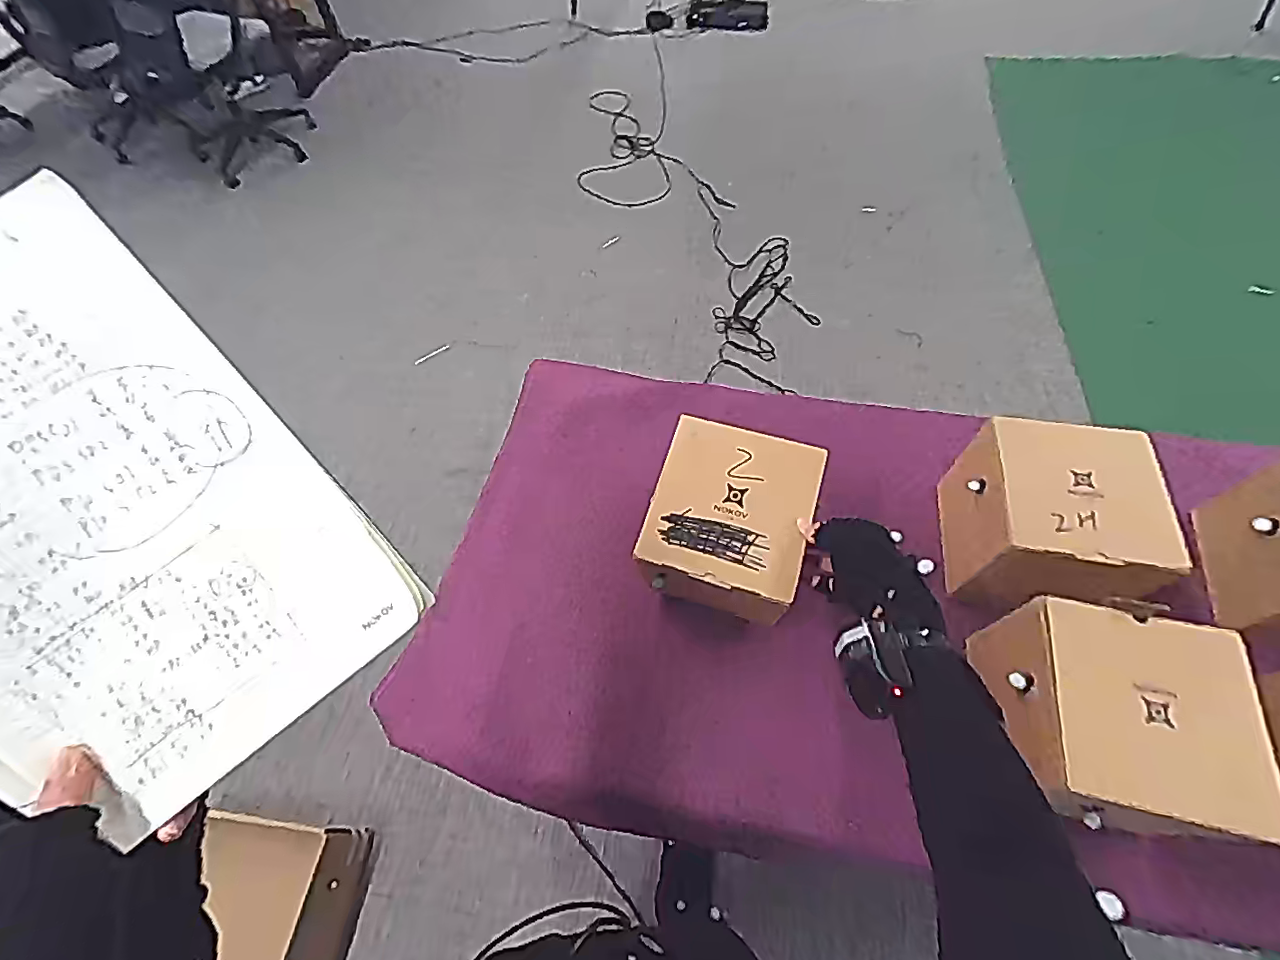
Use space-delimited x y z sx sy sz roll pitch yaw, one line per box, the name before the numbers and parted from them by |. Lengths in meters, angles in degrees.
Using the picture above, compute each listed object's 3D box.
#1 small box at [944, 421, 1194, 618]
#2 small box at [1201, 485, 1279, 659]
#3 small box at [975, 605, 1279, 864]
small box | 0.487 0.057 0.652 0.168 0.176 0.179 9 60 10
small box | 0.793 0.103 0.603 0.168 0.176 0.179 13 61 12
small box | 0.460 0.250 0.541 0.168 0.176 0.179 11 61 11
